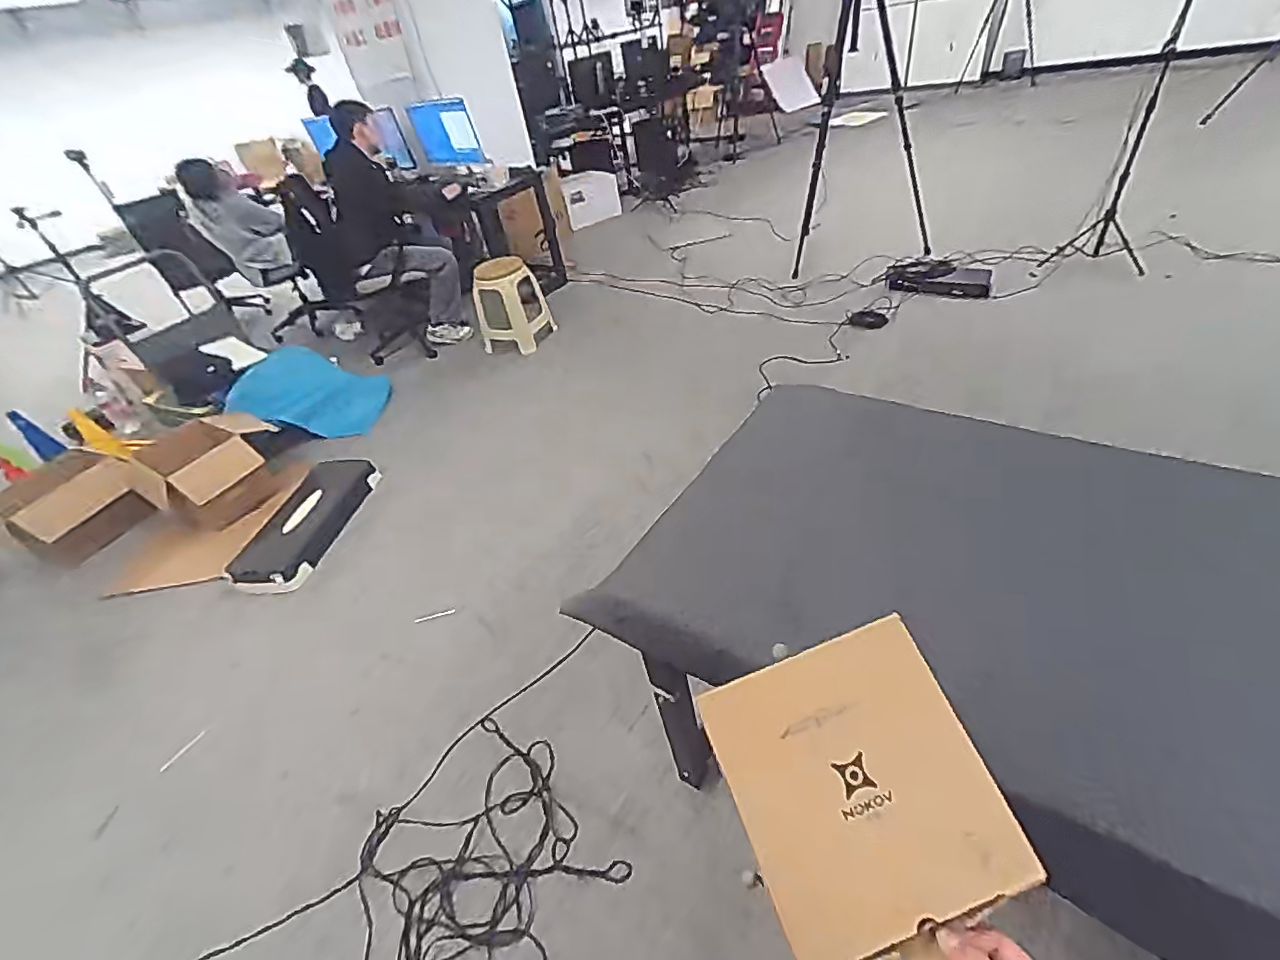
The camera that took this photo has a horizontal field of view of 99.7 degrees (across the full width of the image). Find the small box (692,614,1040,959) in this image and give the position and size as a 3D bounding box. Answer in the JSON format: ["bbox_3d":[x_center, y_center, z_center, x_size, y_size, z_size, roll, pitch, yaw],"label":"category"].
[{"bbox_3d":[0.151,0.231,0.435,0.168,0.176,0.179,-22,65,-5],"label":"small box"}]
